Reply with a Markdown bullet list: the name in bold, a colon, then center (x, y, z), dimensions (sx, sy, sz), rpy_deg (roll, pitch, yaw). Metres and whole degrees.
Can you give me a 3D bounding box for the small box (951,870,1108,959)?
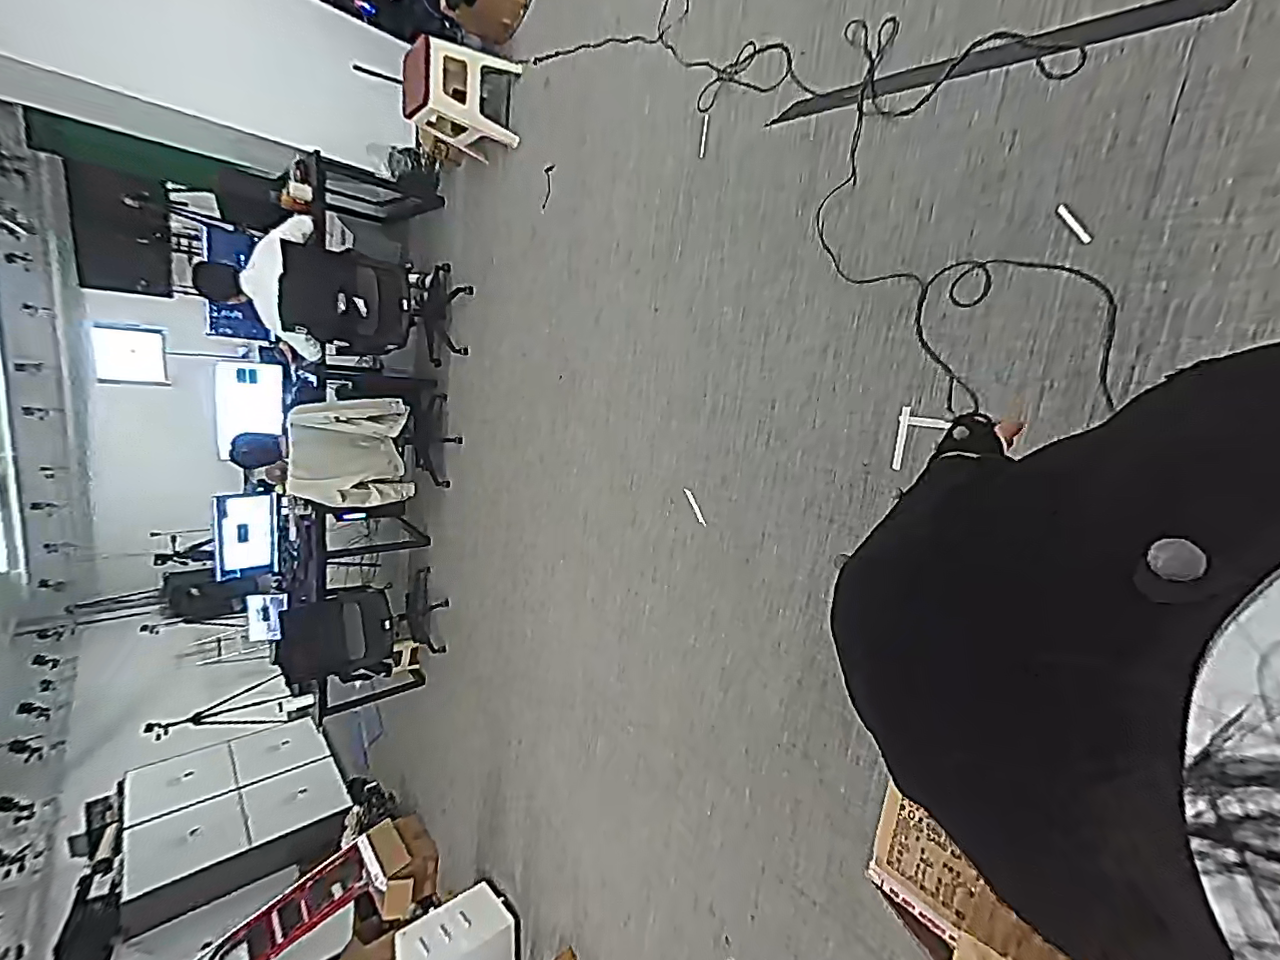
- **small box**: center (0.593, 0.770, 0.837), dimensions (0.168, 0.176, 0.179), rpy_deg (18, 104, 44)
